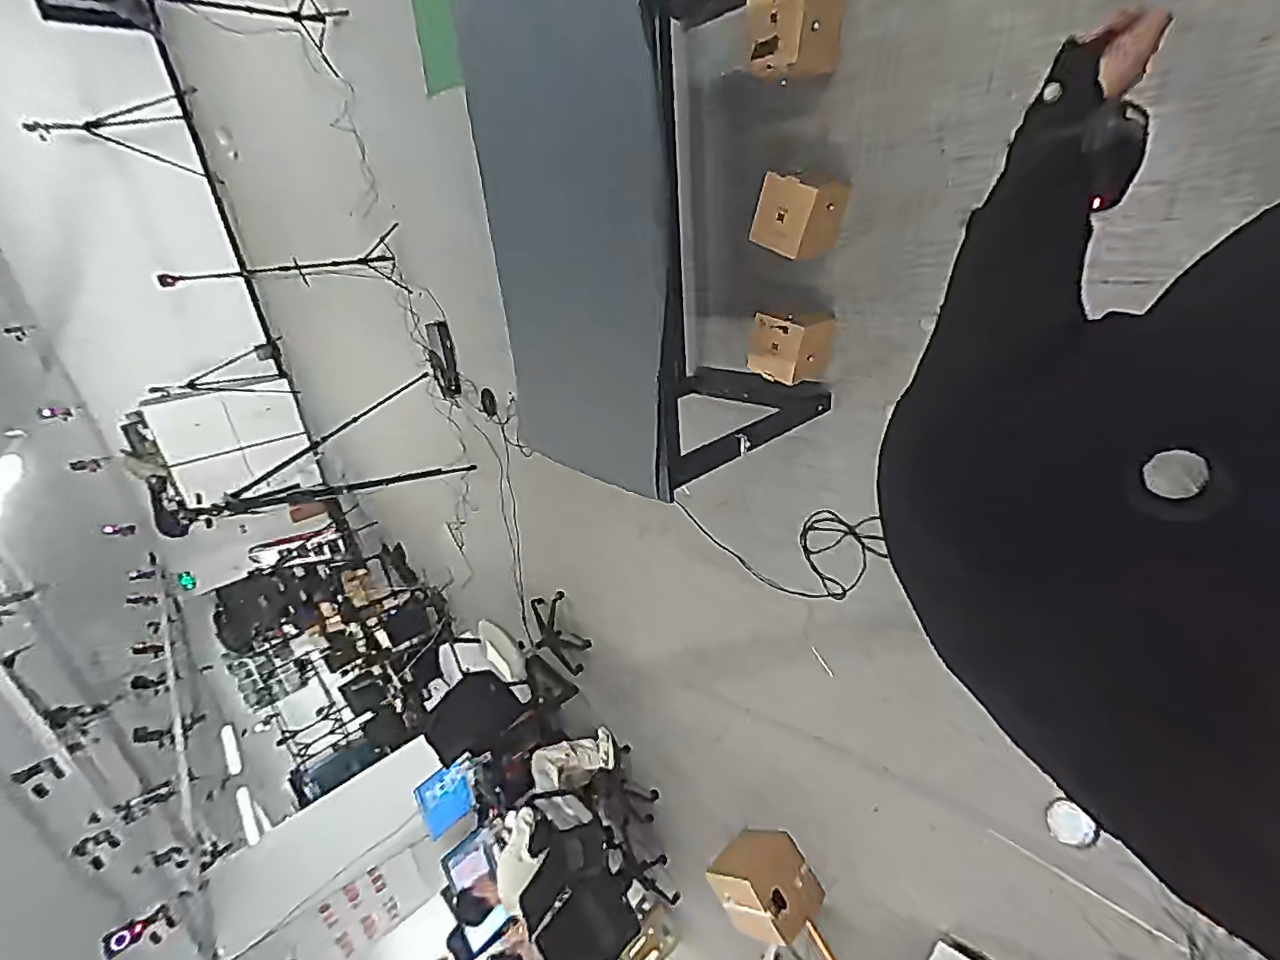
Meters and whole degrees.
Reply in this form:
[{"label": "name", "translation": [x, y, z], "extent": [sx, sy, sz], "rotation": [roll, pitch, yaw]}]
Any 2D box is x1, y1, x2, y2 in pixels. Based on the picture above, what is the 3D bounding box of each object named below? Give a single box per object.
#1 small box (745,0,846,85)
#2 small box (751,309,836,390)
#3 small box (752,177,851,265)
[{"label": "small box", "translation": [0.378, -1.080, 1.314], "extent": [0.168, 0.176, 0.179], "rotation": [26, 128, 40]}, {"label": "small box", "translation": [0.457, -0.393, 1.611], "extent": [0.168, 0.176, 0.179], "rotation": [33, 134, 36]}, {"label": "small box", "translation": [0.438, -0.704, 1.457], "extent": [0.168, 0.176, 0.179], "rotation": [40, 139, 31]}]
